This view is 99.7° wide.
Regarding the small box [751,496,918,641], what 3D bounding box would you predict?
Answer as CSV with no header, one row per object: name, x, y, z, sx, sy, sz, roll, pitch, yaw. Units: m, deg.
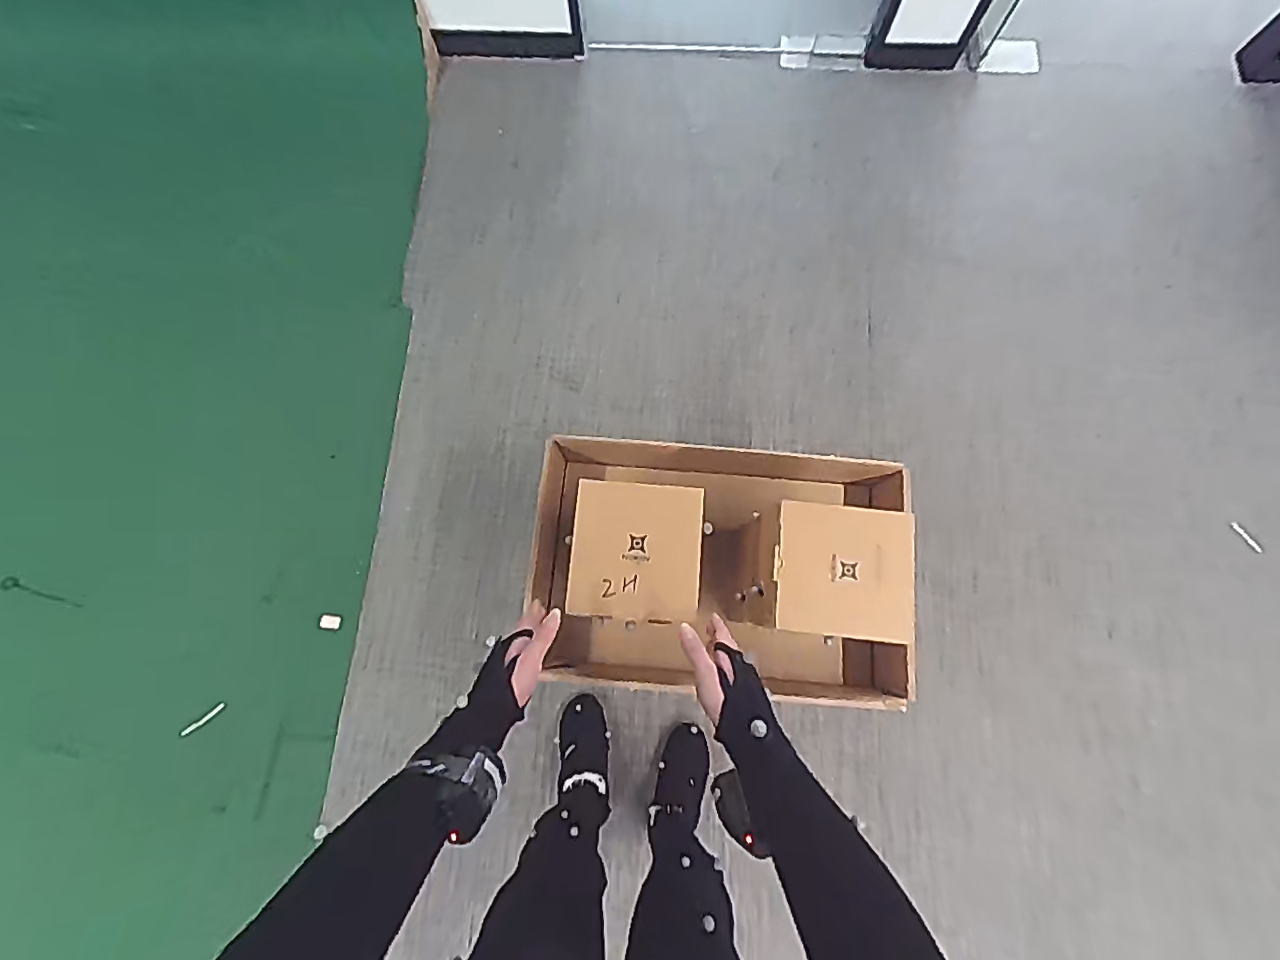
small box,0.260,0.125,0.755,0.179,0.176,0.168,7,79,1

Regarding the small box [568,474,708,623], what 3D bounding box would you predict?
small box,-0.001,0.101,0.757,0.168,0.176,0.179,5,78,1
